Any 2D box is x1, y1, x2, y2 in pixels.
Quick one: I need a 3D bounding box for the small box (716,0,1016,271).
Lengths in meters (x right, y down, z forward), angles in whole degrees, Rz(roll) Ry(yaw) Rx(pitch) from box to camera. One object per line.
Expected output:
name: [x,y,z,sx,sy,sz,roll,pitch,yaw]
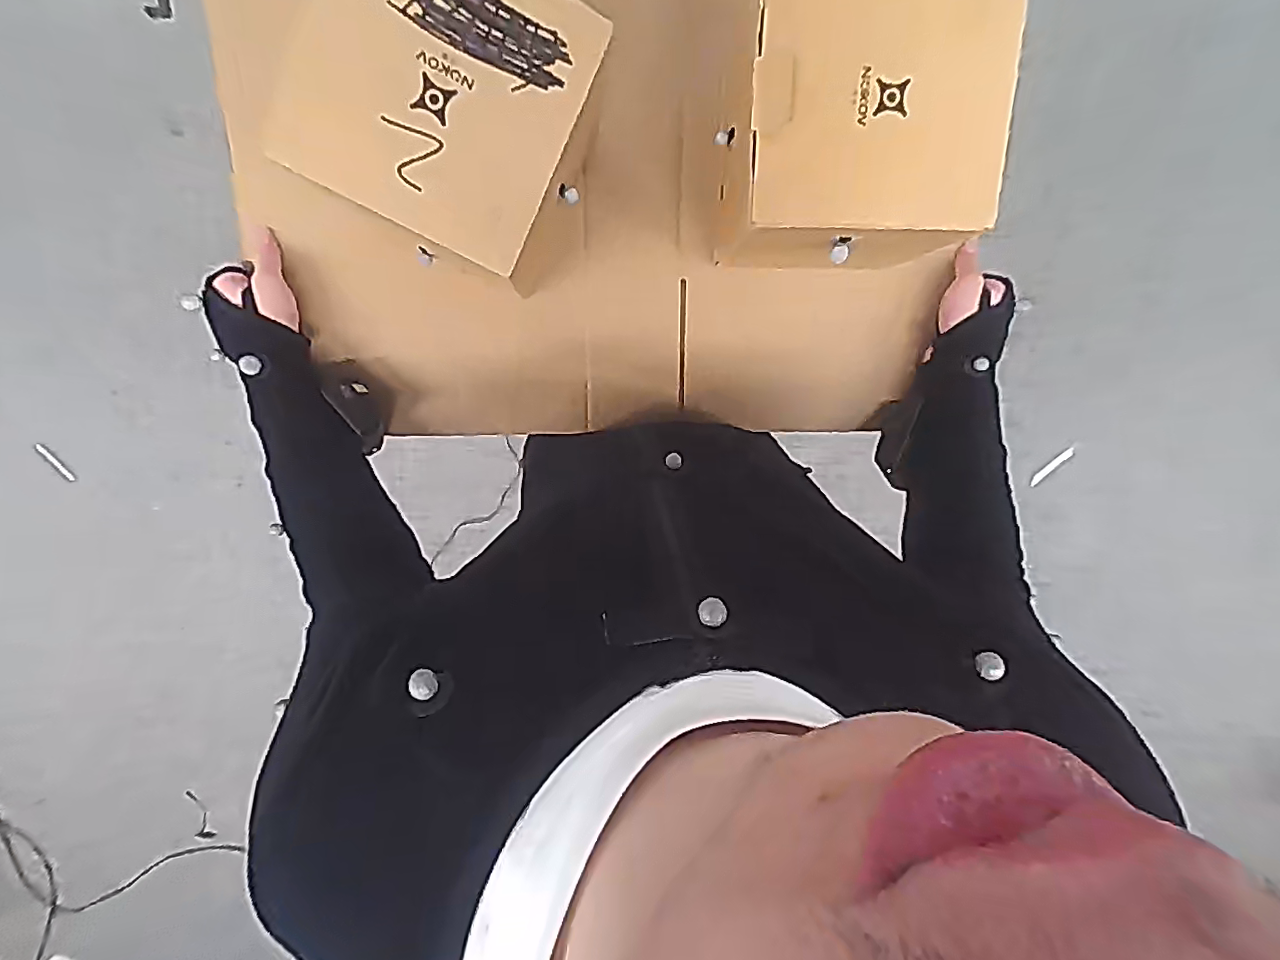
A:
small box: [0.167,-0.279,0.460,0.179,0.176,0.168,1,102,0]
